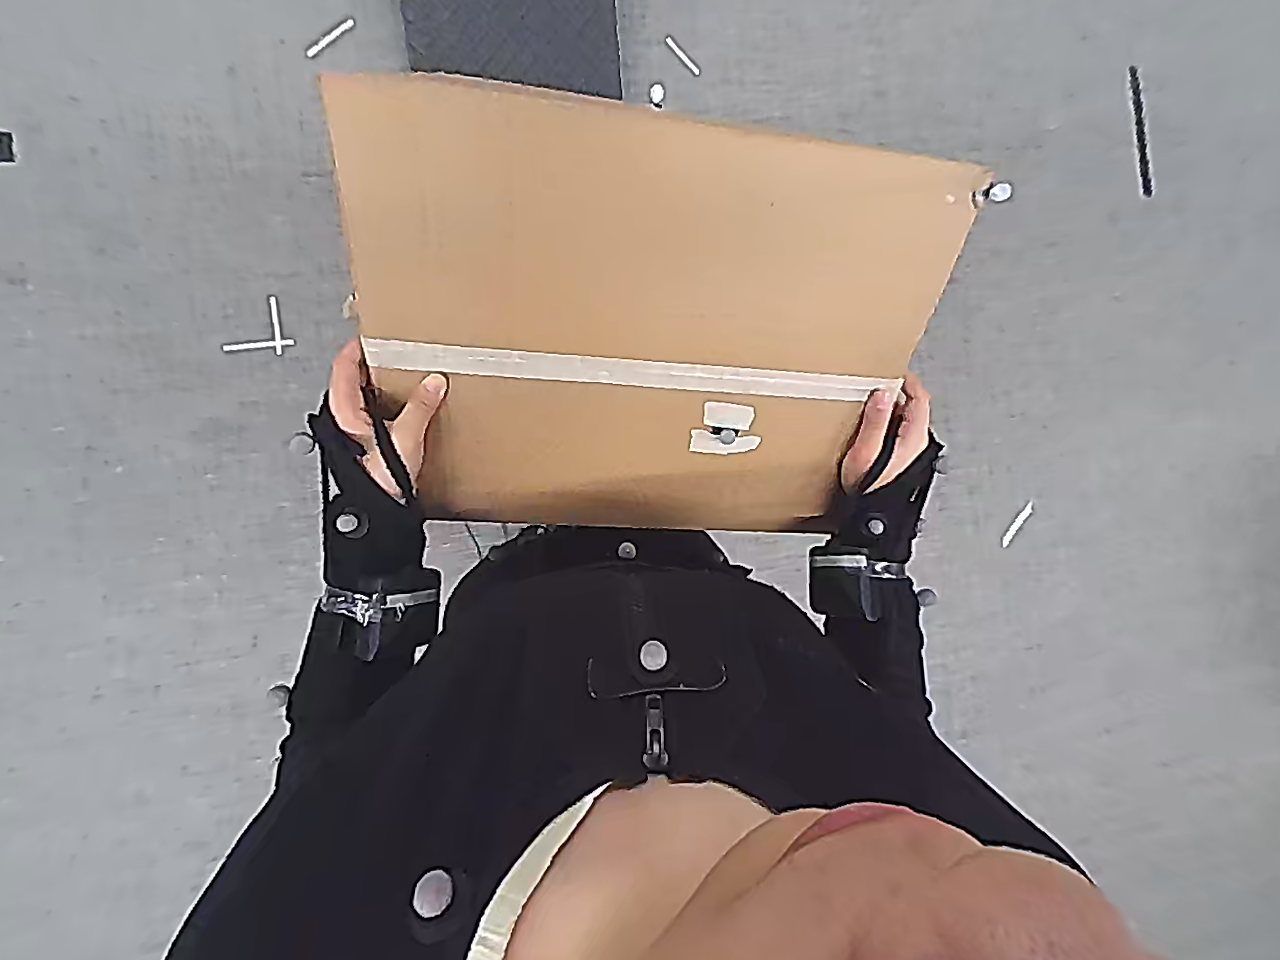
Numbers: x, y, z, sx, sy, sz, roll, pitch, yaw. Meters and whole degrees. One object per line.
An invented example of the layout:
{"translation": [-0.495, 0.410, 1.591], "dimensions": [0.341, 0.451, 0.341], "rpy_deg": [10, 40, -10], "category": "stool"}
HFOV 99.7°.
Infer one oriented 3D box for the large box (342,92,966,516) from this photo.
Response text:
{"translation": [-0.008, -0.178, 0.539], "dimensions": [0.408, 0.320, 0.320], "rpy_deg": [1, 127, -9], "category": "large box"}
